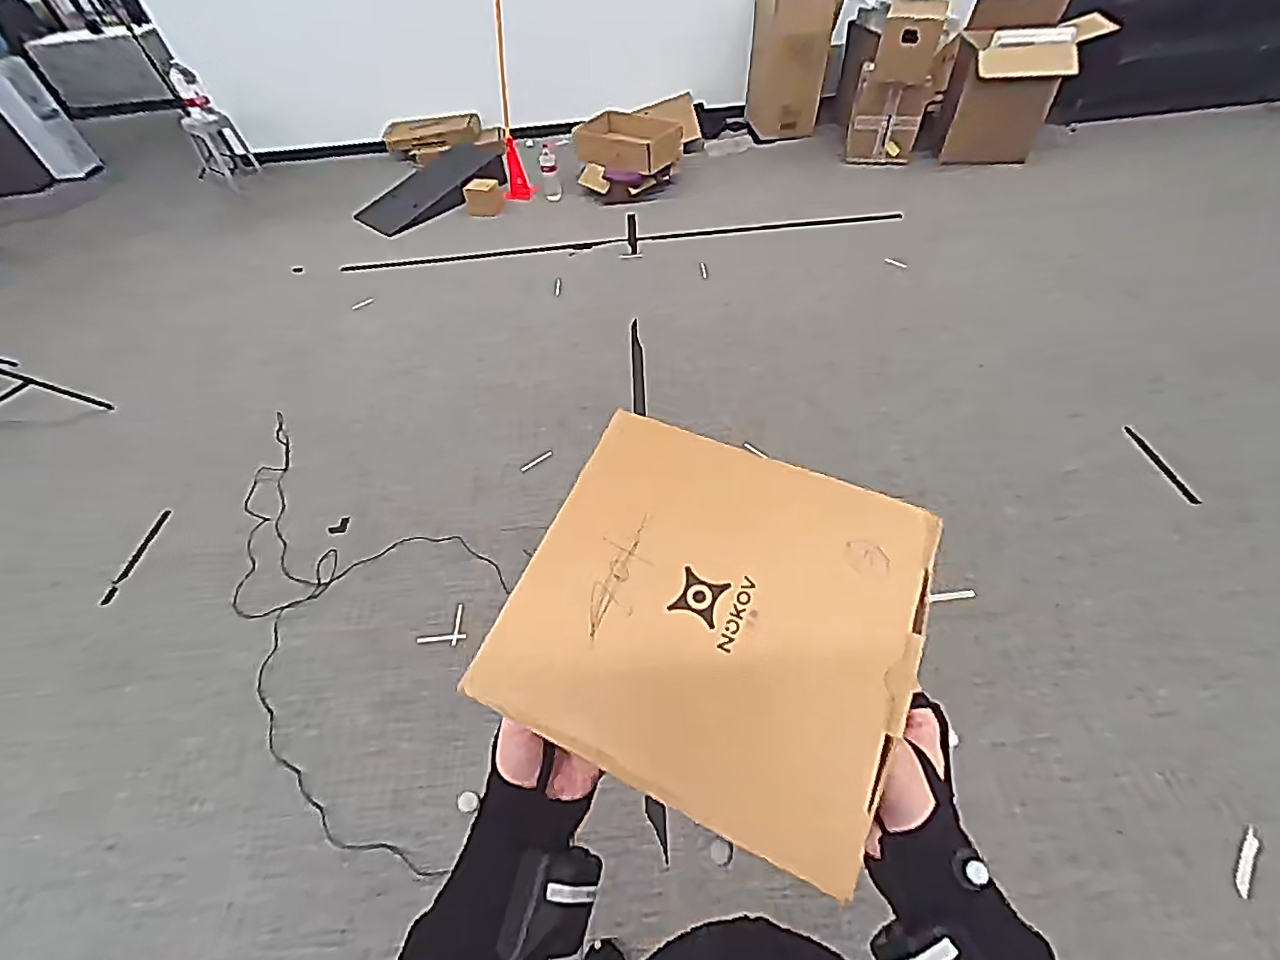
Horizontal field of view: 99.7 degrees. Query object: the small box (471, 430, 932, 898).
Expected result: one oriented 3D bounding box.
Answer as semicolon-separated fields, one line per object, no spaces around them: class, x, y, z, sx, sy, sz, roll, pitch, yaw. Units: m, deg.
small box;0.041;0.102;0.327;0.179;0.176;0.168;19;64;18
